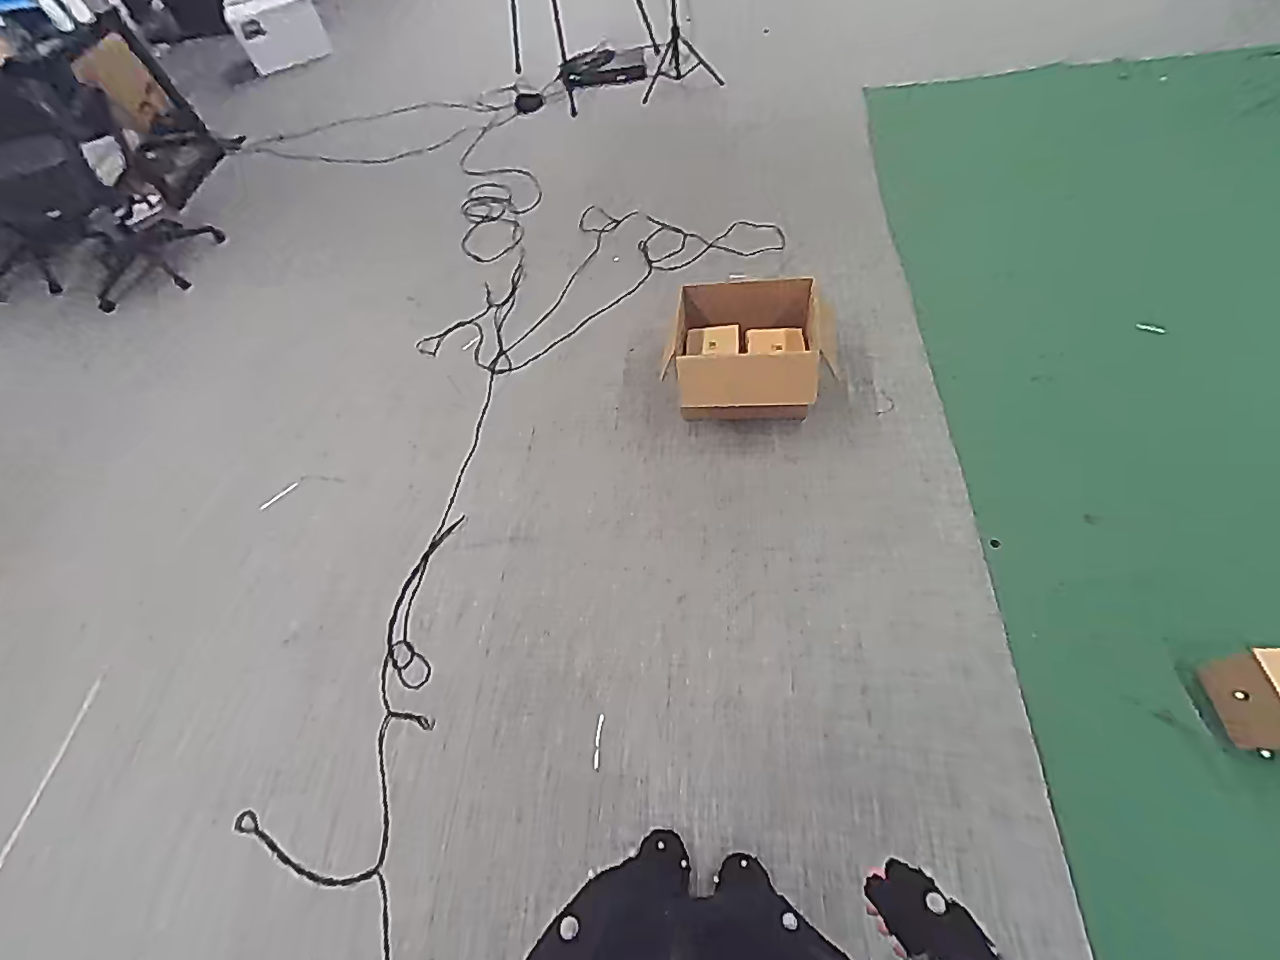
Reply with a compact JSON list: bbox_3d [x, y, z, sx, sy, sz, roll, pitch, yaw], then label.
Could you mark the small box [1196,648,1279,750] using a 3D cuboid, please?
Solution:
[{"bbox_3d":[1.333,0.456,1.115,0.168,0.176,0.179,-3,57,7],"label":"small box"}]
